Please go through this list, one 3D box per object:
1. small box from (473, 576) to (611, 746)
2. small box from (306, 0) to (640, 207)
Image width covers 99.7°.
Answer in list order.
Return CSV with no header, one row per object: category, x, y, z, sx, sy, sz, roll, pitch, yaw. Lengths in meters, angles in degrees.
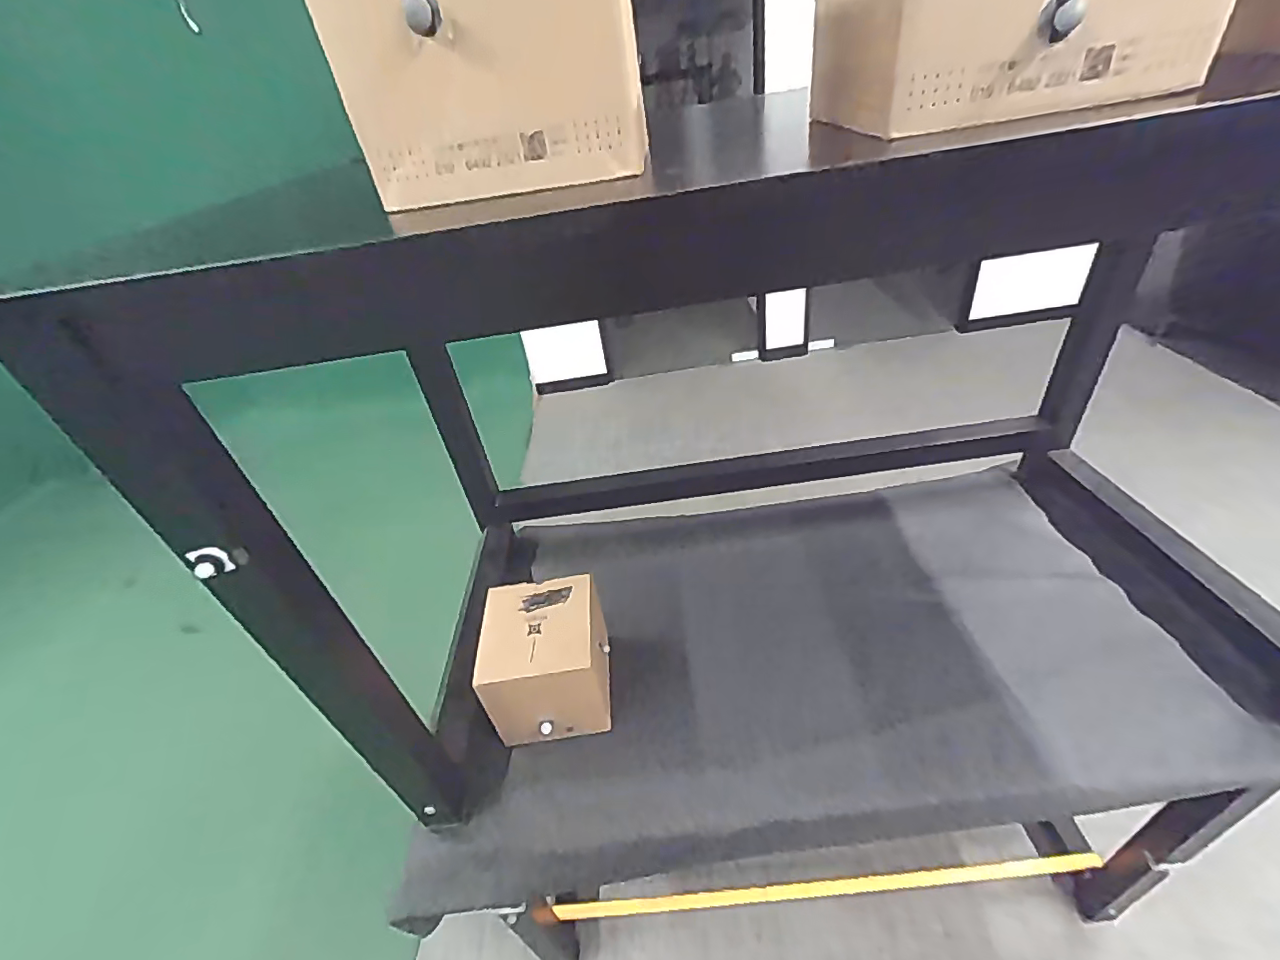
small box,-0.140,0.277,0.837,0.168,0.176,0.179,-9,36,1
small box,-0.093,-0.292,0.359,0.168,0.176,0.179,-6,36,6
